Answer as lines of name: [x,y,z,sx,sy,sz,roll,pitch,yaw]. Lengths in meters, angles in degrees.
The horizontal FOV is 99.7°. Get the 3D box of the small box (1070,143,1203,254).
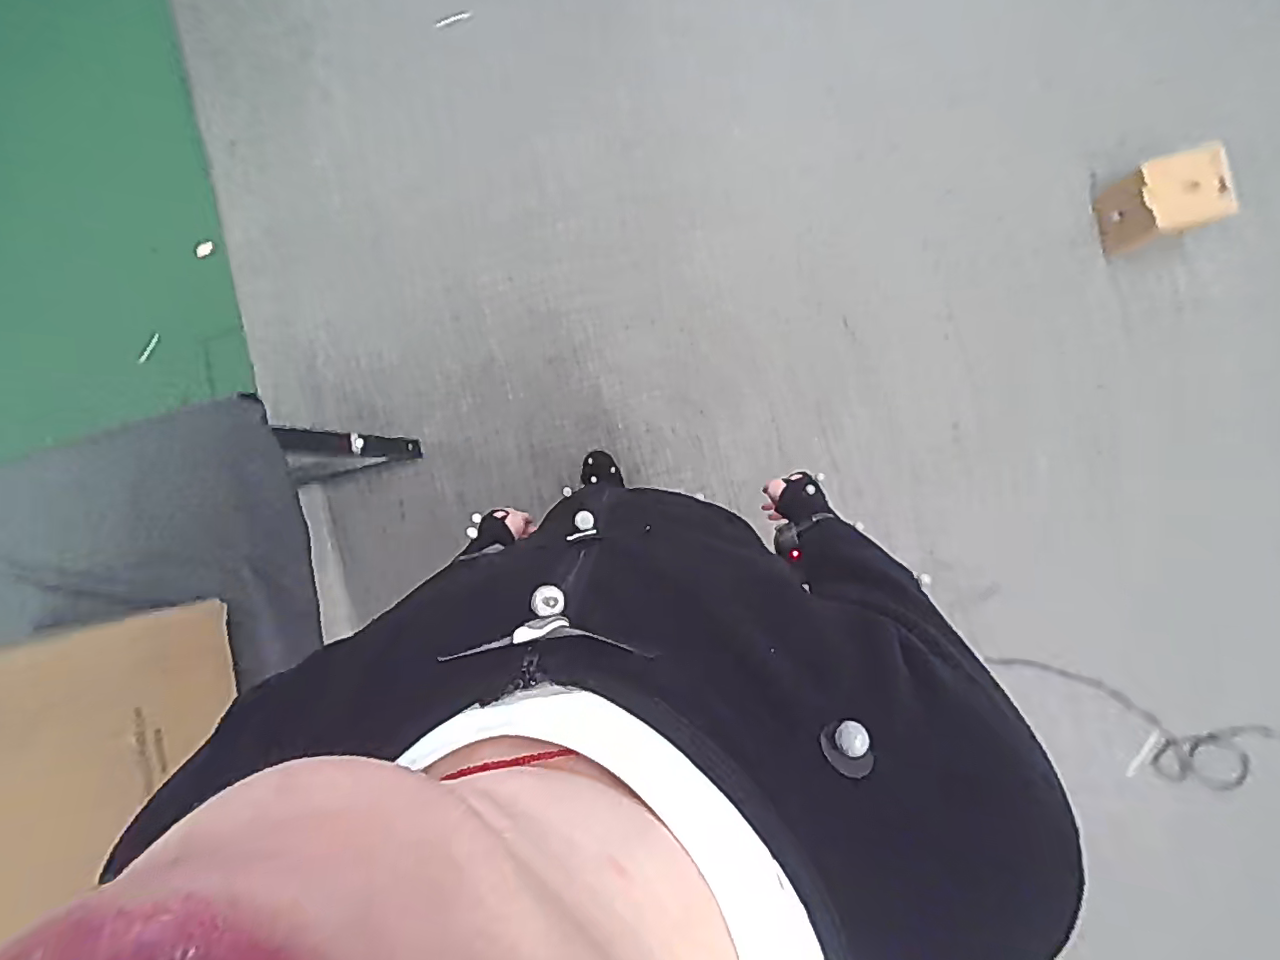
small box: [1.236,-0.699,1.366,0.179,0.176,0.168,-15,88,5]
